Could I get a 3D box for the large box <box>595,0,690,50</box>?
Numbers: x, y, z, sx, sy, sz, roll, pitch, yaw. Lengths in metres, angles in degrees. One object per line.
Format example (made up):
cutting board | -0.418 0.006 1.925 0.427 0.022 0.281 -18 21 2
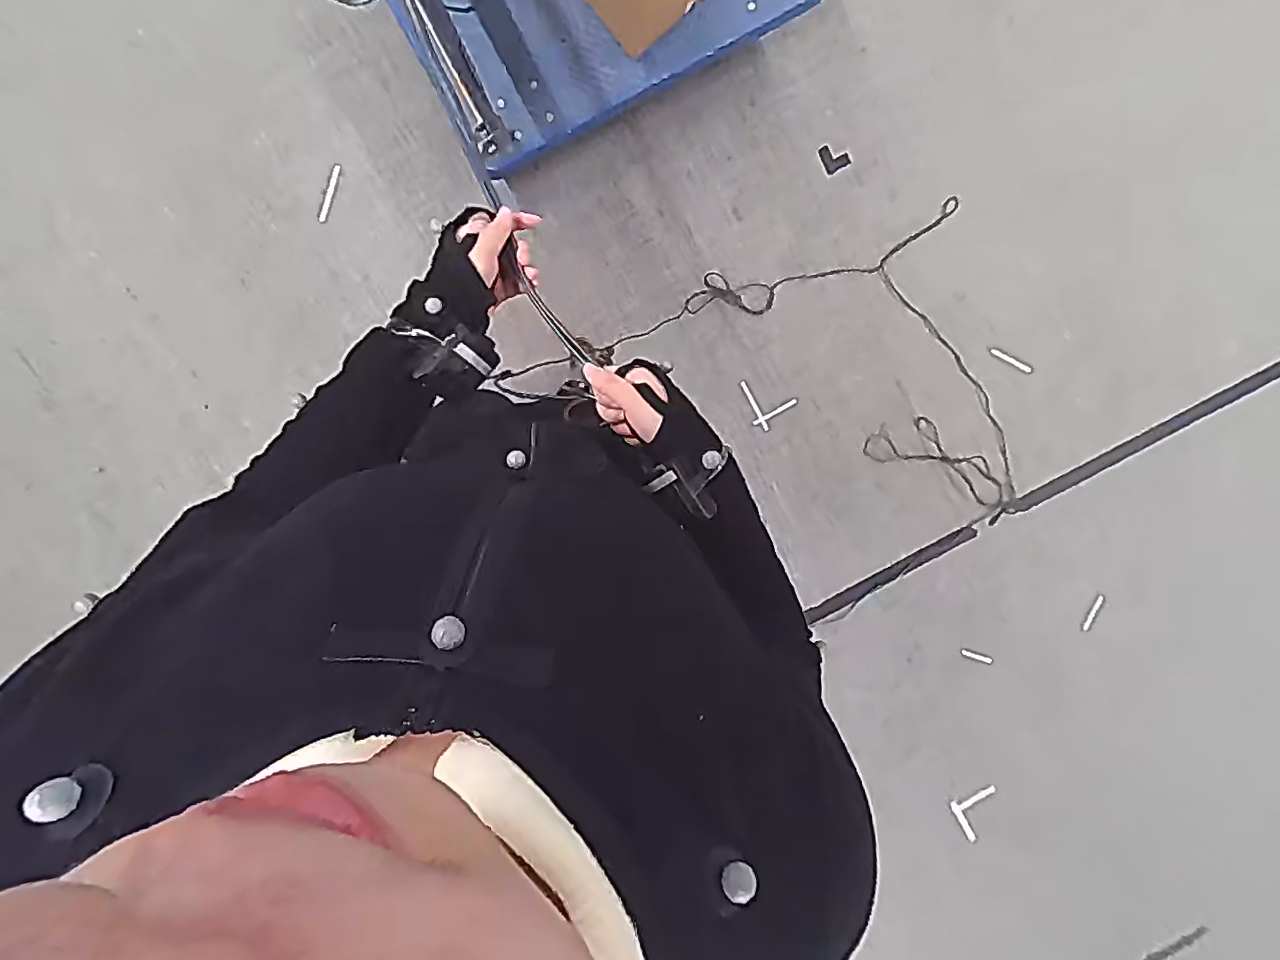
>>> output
large box | -0.017 -1.126 0.964 0.320 0.320 0.408 -42 102 4
